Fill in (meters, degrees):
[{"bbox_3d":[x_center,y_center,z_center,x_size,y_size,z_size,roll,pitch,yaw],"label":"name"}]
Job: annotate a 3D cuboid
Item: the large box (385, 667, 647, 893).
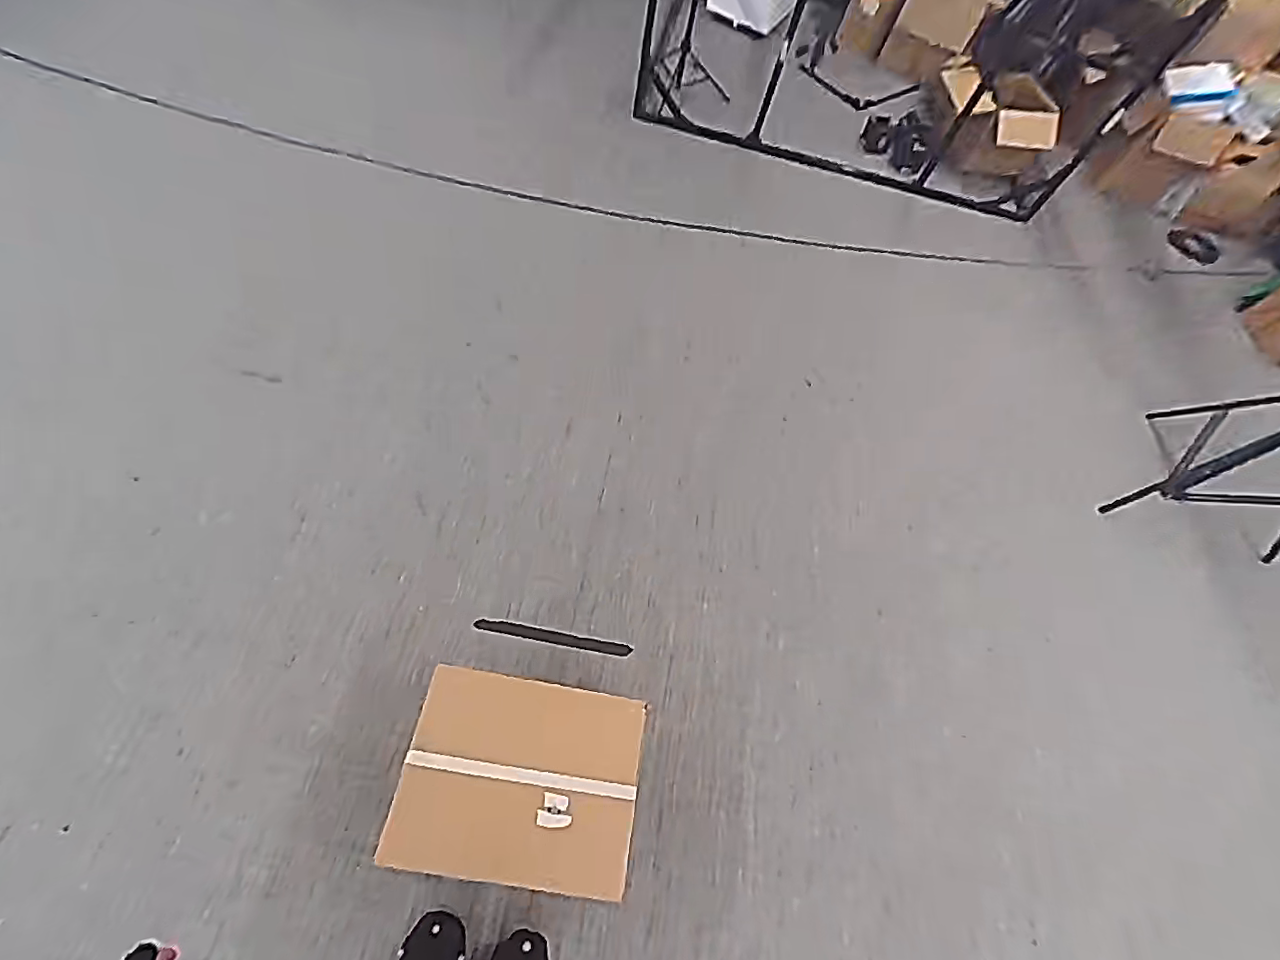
[{"bbox_3d":[-0.226,0.592,1.084,0.408,0.320,0.320,12,60,-5],"label":"large box"}]
